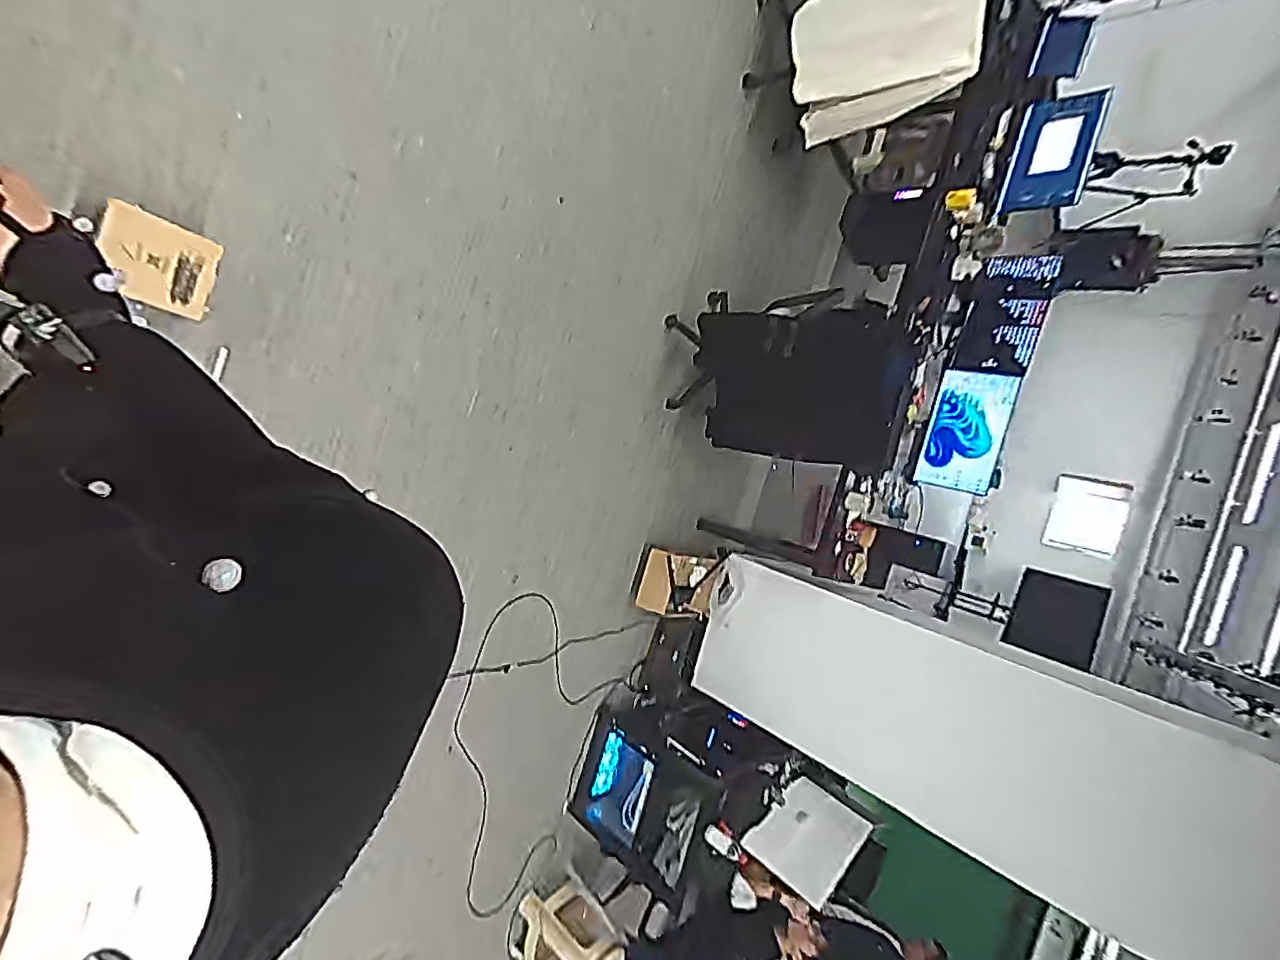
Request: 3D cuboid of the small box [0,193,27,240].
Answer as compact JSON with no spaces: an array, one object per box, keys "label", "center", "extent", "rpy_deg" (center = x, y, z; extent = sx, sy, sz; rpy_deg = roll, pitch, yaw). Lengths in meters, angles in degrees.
[{"label":"small box","center":[-0.675,-0.249,0.430],"extent":[0.179,0.176,0.168],"rpy_deg":[-48,146,-18]}]
